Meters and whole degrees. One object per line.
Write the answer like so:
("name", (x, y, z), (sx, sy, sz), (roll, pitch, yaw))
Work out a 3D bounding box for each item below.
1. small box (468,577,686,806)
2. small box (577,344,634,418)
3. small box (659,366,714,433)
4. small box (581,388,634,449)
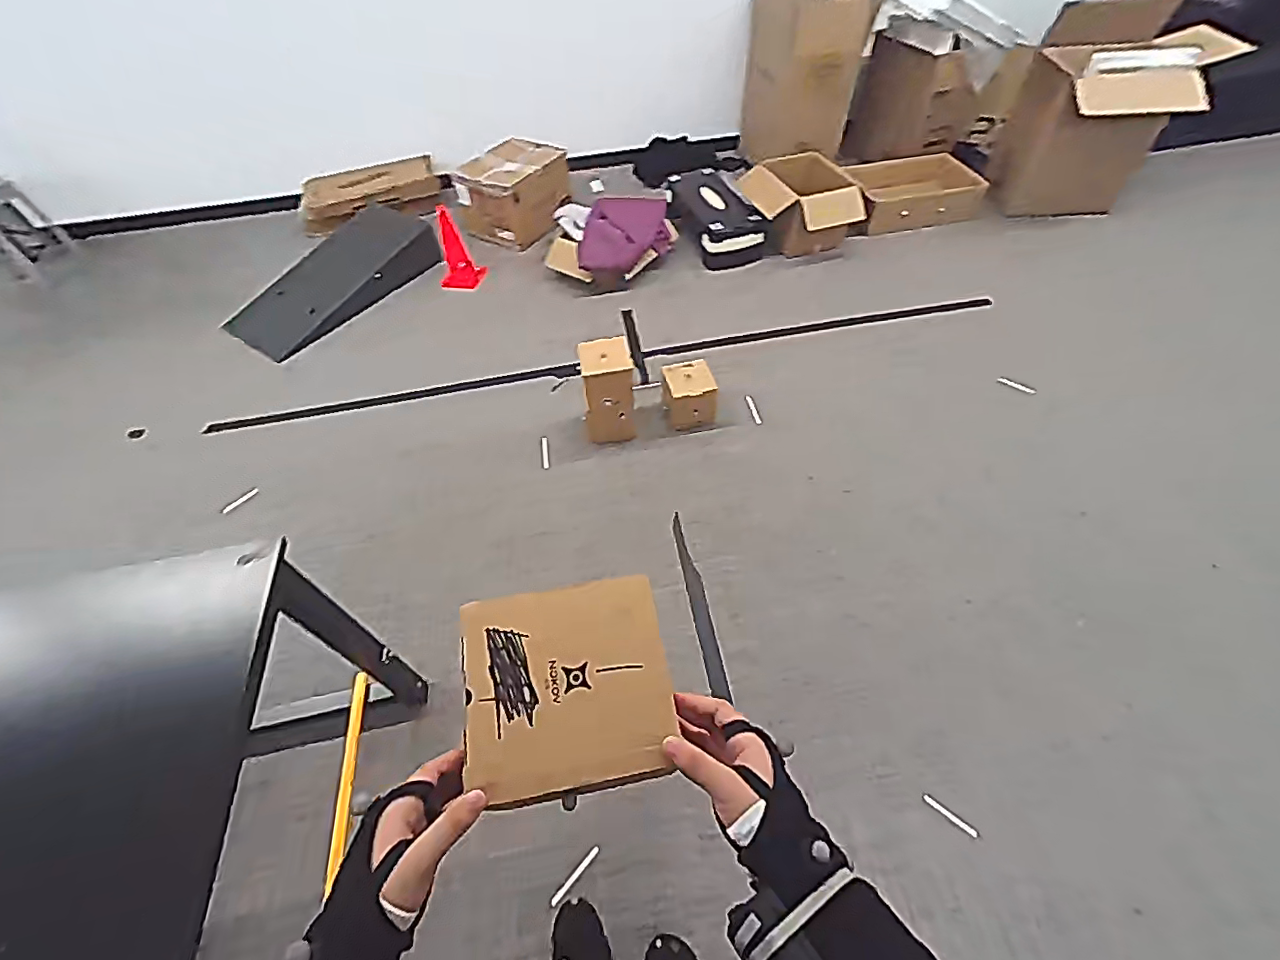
("small box", (-0.061, 0.215, 0.537), (0.179, 0.176, 0.168), (-8, 59, -7))
("small box", (-0.118, -0.341, 1.869), (0.168, 0.176, 0.179), (-11, 53, -3))
("small box", (0.174, -0.295, 2.025), (0.168, 0.176, 0.179), (-12, 53, -6))
("small box", (-0.116, -0.235, 1.993), (0.179, 0.176, 0.168), (-9, 51, -3))
